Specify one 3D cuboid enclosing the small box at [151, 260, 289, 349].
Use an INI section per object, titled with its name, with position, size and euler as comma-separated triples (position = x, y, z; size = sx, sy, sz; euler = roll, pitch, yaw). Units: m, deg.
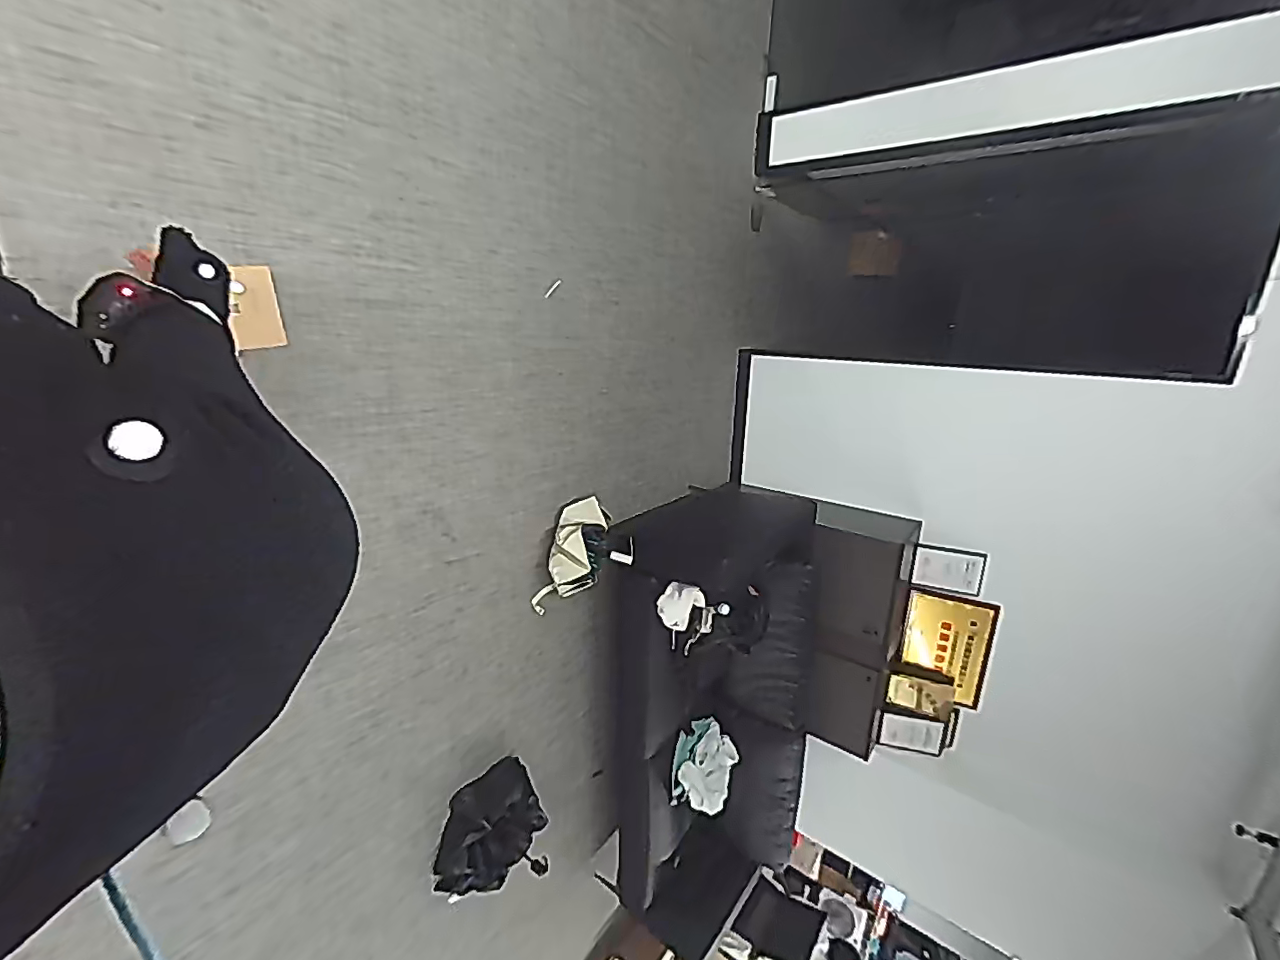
[small box]
position = -0.883, -0.368, 1.134
size = 0.179, 0.176, 0.168
euler = -26, 123, -48
